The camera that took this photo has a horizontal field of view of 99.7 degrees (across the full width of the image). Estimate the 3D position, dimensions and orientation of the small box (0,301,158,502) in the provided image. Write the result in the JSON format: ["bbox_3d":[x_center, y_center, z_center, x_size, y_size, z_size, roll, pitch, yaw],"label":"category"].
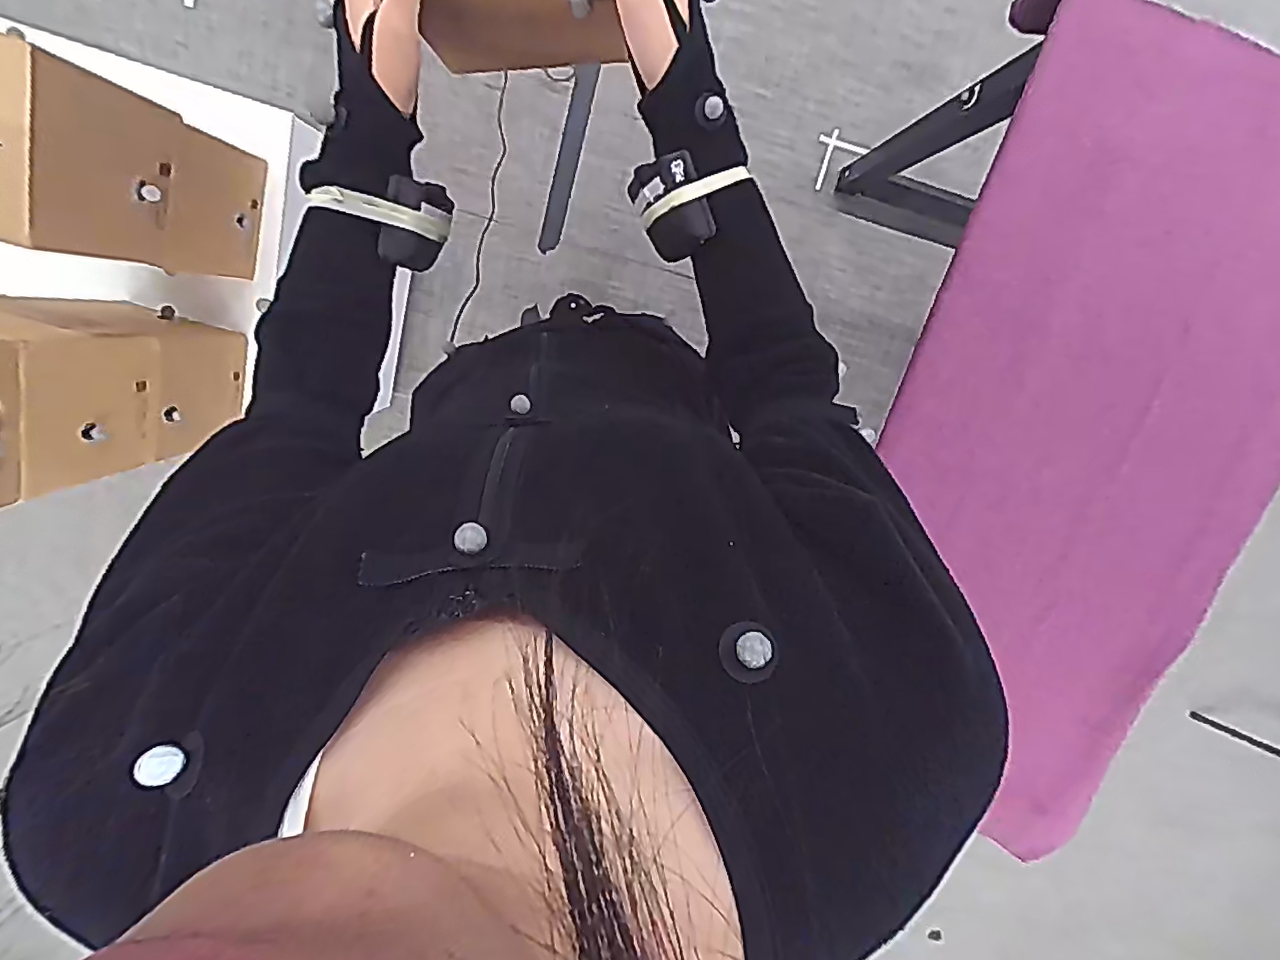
[{"bbox_3d":[-0.673,-0.095,0.582,0.179,0.176,0.168,14,105,-7],"label":"small box"}]

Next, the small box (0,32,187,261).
[{"bbox_3d":[-0.595,-0.322,0.519,0.179,0.176,0.168,16,105,-9],"label":"small box"}]

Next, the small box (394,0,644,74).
[{"bbox_3d":[-0.085,-0.416,0.378,0.179,0.176,0.168,-2,106,1],"label":"small box"}]

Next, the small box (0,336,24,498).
[{"bbox_3d":[-0.666,-0.052,0.426,0.179,0.176,0.168,14,106,-7],"label":"small box"}]

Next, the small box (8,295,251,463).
[{"bbox_3d":[-0.683,-0.140,0.738,0.179,0.176,0.168,16,105,-6],"label":"small box"}]
